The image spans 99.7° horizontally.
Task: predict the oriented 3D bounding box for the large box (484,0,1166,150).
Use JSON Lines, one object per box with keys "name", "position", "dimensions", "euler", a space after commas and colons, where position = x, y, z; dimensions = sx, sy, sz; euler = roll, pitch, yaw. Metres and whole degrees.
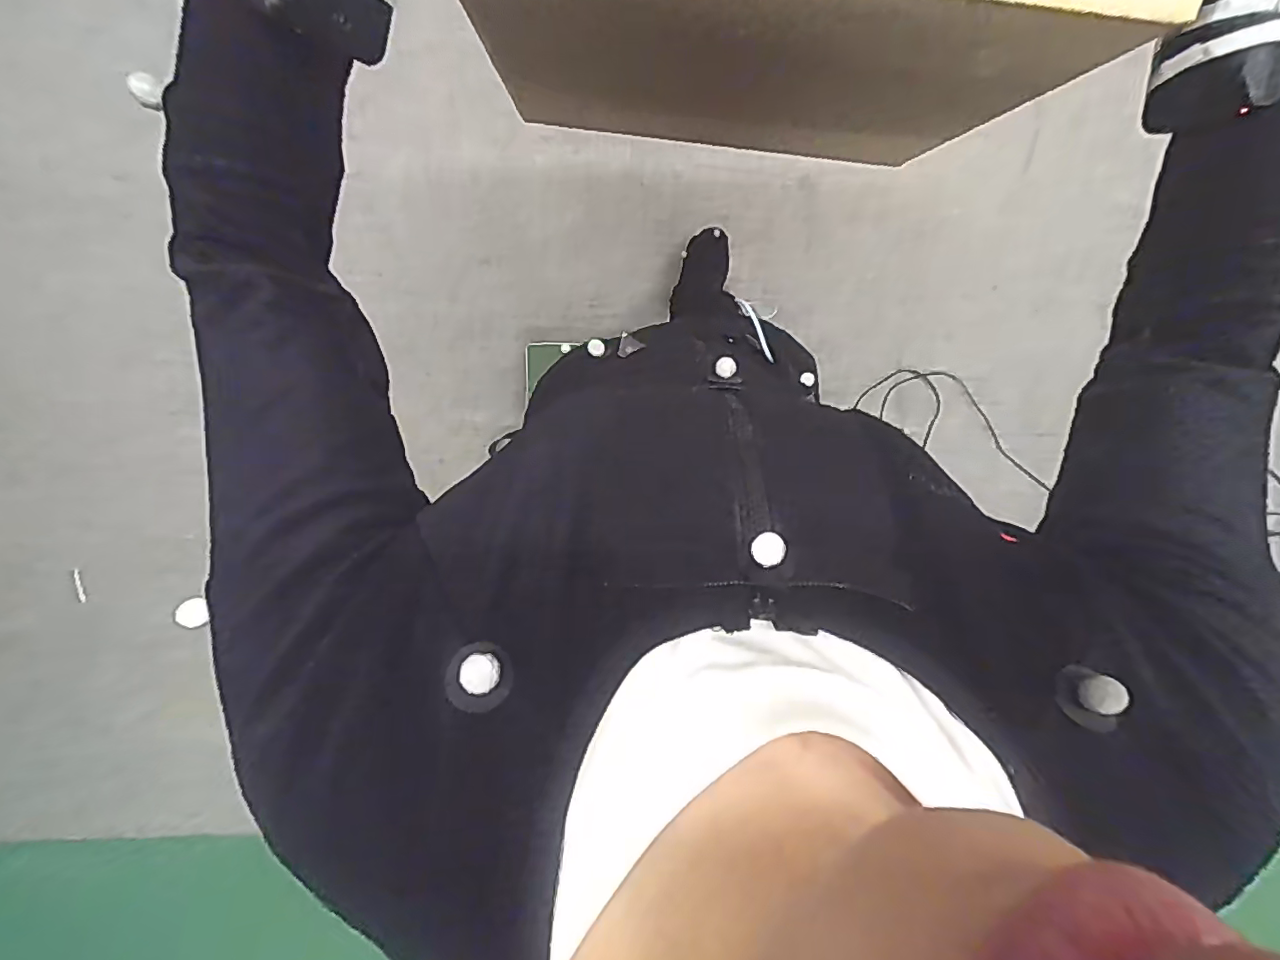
{"name": "large box", "position": [0.099, -0.461, 0.378], "dimensions": [0.408, 0.320, 0.320], "euler": [3, 108, -5]}
